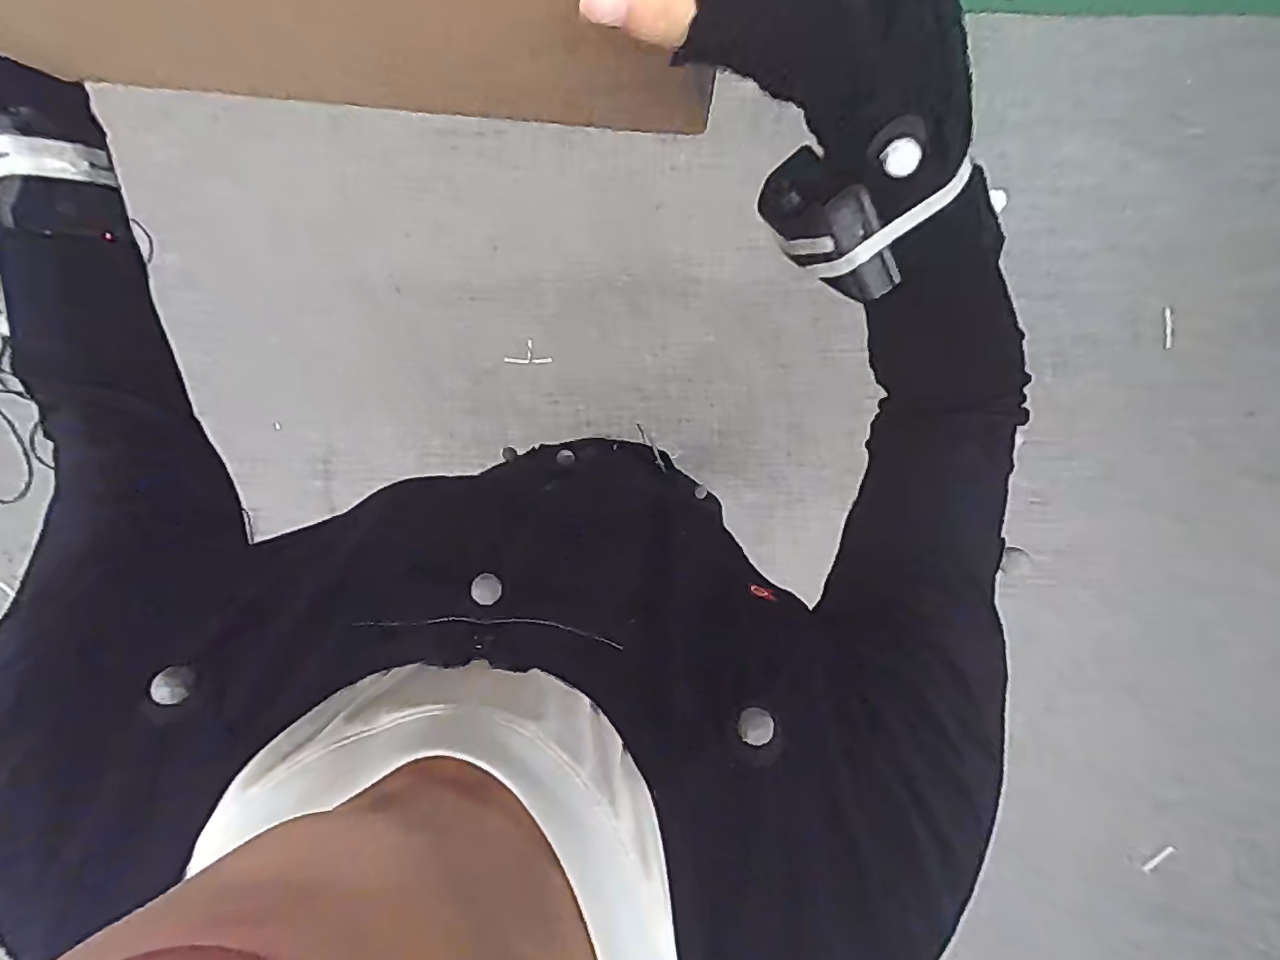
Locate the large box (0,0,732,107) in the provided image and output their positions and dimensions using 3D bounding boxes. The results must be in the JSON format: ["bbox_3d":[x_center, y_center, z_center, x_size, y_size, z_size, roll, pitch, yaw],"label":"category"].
[{"bbox_3d":[-0.155,-0.337,0.135,0.408,0.320,0.320,9,107,6],"label":"large box"}]
